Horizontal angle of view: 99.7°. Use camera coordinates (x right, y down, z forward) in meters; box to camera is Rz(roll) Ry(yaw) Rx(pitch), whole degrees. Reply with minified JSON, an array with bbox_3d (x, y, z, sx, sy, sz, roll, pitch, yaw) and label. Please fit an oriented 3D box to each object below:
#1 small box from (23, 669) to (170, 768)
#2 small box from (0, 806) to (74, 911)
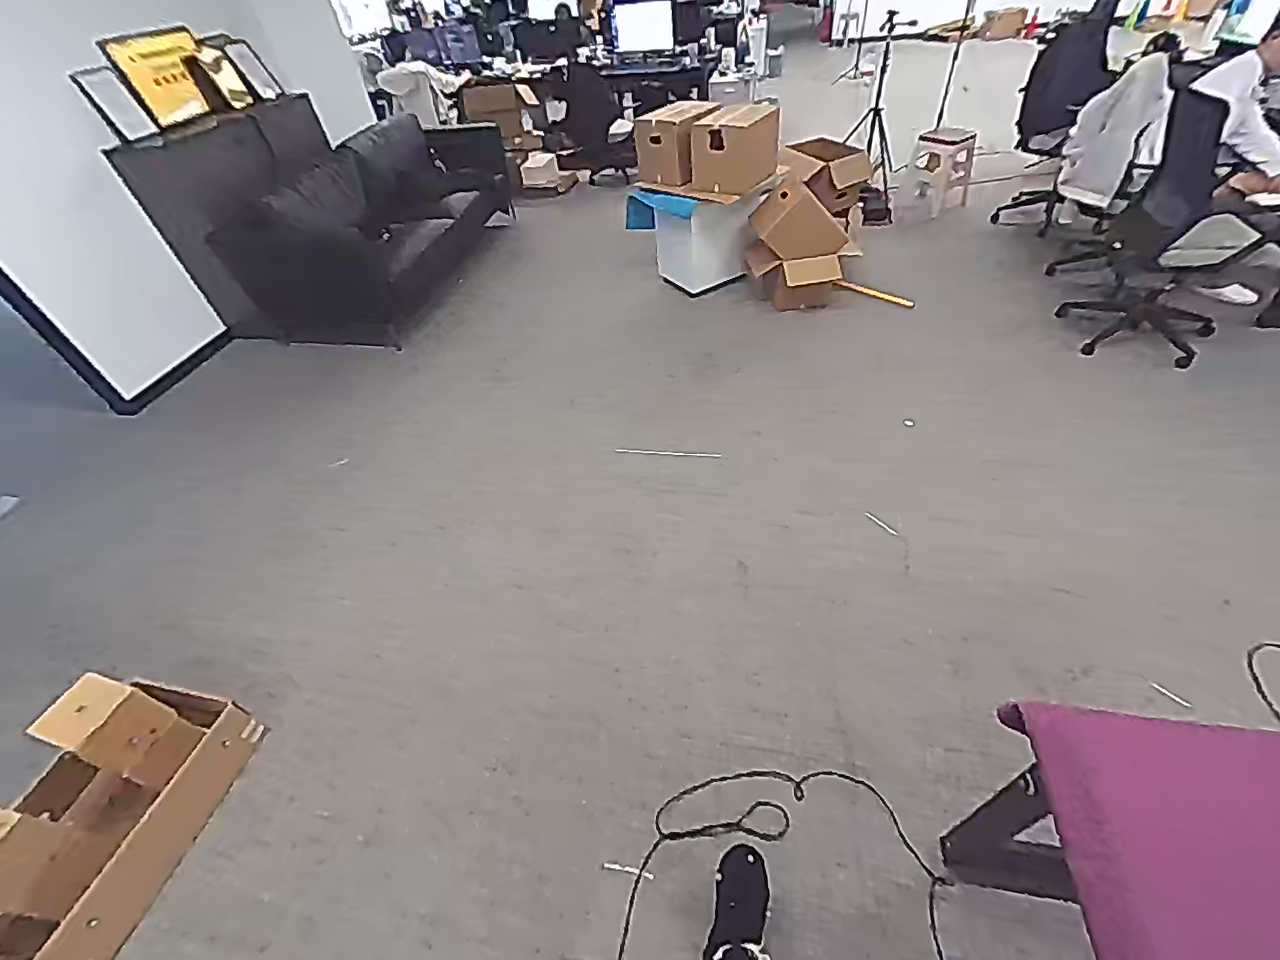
[{"bbox_3d":[-1.408,0.627,1.414,0.179,0.176,0.168,10,47,14],"label":"small box"},{"bbox_3d":[-1.464,0.839,1.209,0.179,0.176,0.168,4,46,11],"label":"small box"}]
